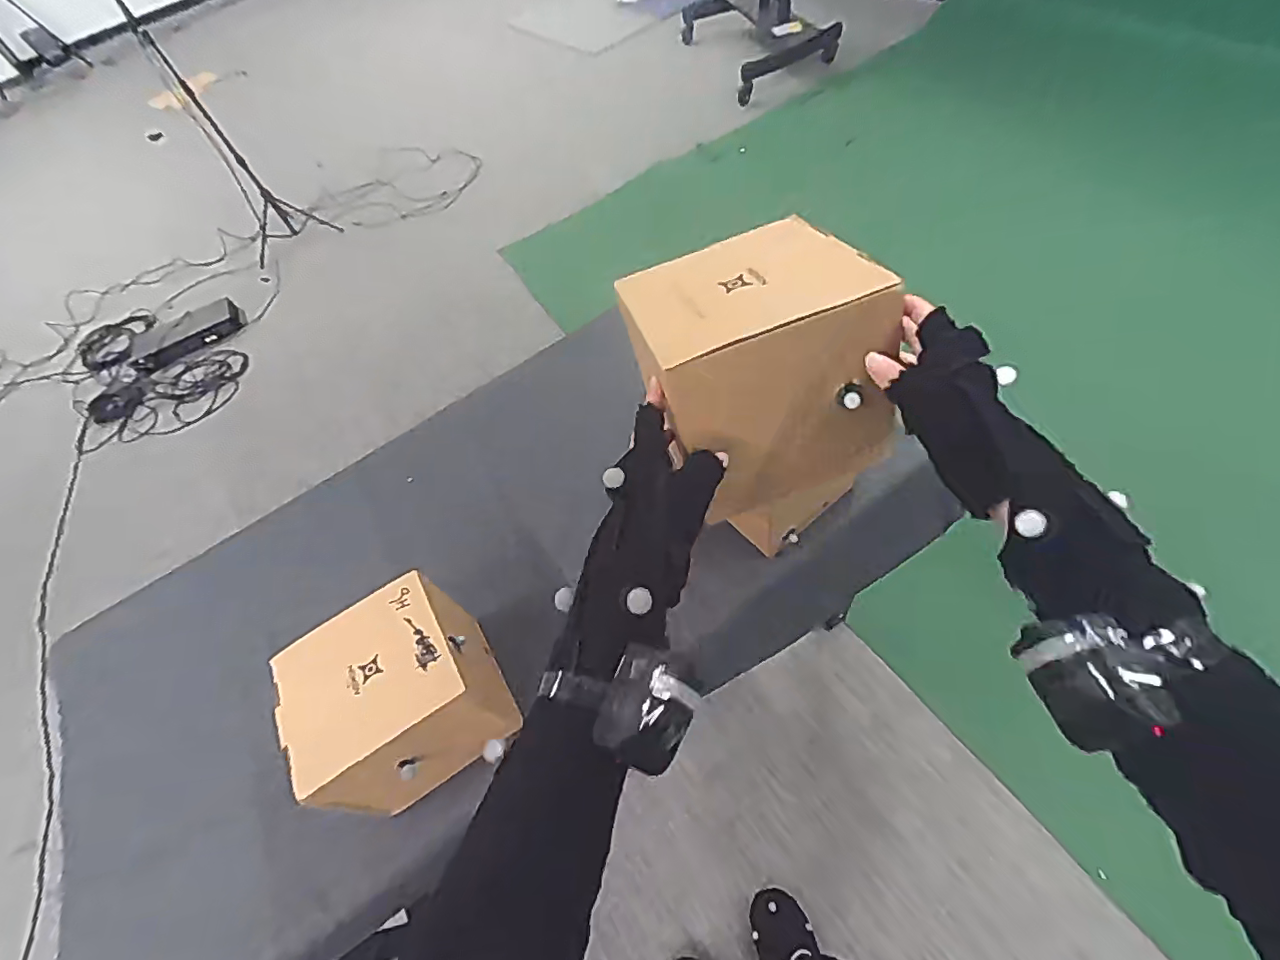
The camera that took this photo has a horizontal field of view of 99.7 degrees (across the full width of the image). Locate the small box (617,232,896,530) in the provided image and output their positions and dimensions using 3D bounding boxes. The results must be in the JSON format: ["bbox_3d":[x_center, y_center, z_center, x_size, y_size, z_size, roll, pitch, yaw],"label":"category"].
[{"bbox_3d":[0.097,-0.087,0.479,0.179,0.176,0.168,-21,40,1],"label":"small box"}]

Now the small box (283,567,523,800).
[{"bbox_3d":[-0.267,0.241,0.629,0.179,0.176,0.168,-32,55,-11],"label":"small box"}]

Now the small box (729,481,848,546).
[{"bbox_3d":[0.169,-0.034,0.727,0.168,0.176,0.179,-37,56,-14],"label":"small box"}]
